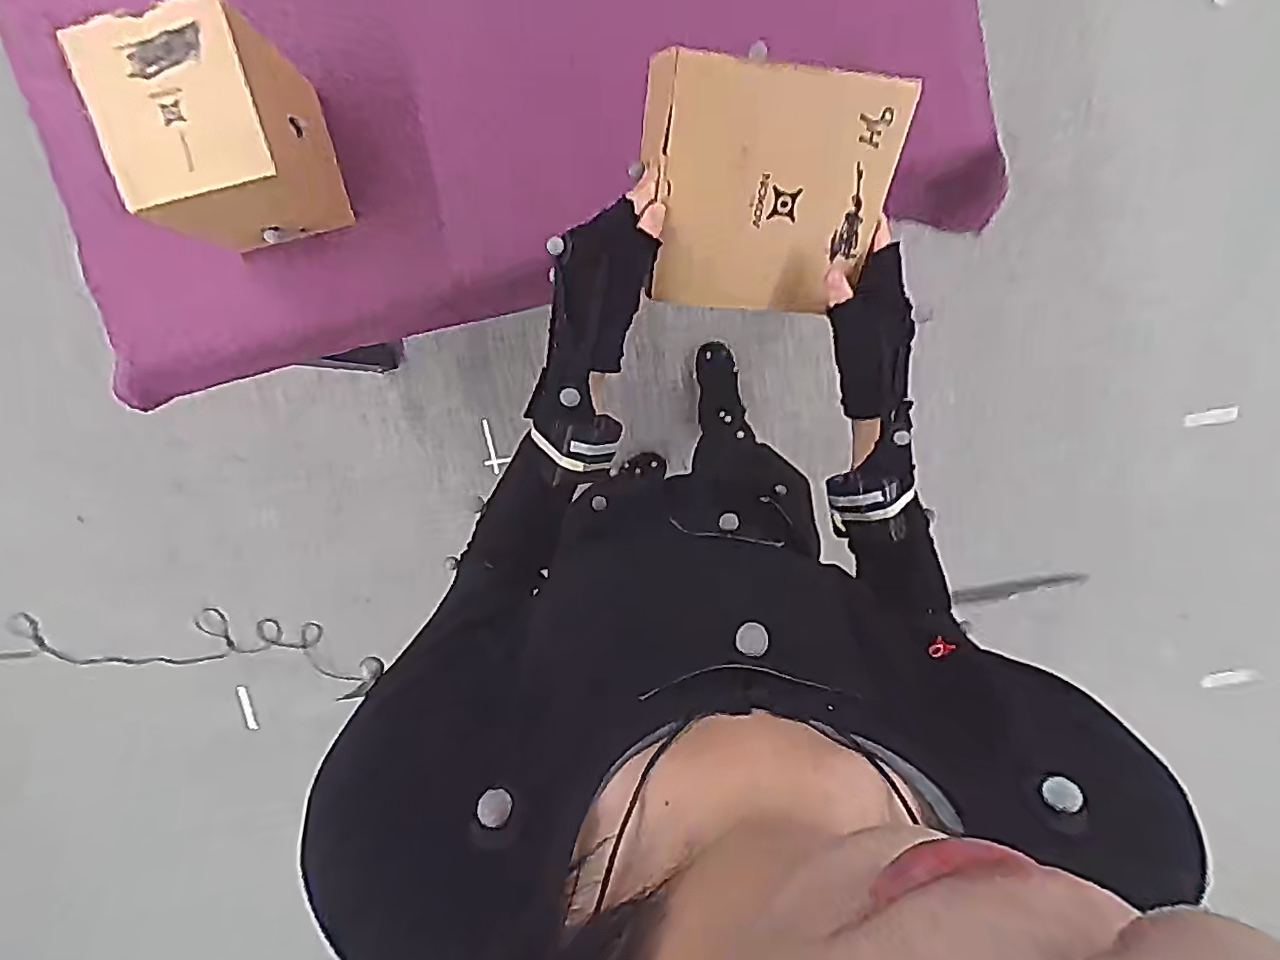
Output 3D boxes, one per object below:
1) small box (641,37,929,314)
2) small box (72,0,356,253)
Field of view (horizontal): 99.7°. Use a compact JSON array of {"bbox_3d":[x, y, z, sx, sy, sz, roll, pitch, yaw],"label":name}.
[{"bbox_3d":[0.097,-0.258,0.467,0.179,0.176,0.168,3,125,-7],"label":"small box"},{"bbox_3d":[-0.470,-0.391,0.629,0.168,0.176,0.179,-14,99,1],"label":"small box"}]
